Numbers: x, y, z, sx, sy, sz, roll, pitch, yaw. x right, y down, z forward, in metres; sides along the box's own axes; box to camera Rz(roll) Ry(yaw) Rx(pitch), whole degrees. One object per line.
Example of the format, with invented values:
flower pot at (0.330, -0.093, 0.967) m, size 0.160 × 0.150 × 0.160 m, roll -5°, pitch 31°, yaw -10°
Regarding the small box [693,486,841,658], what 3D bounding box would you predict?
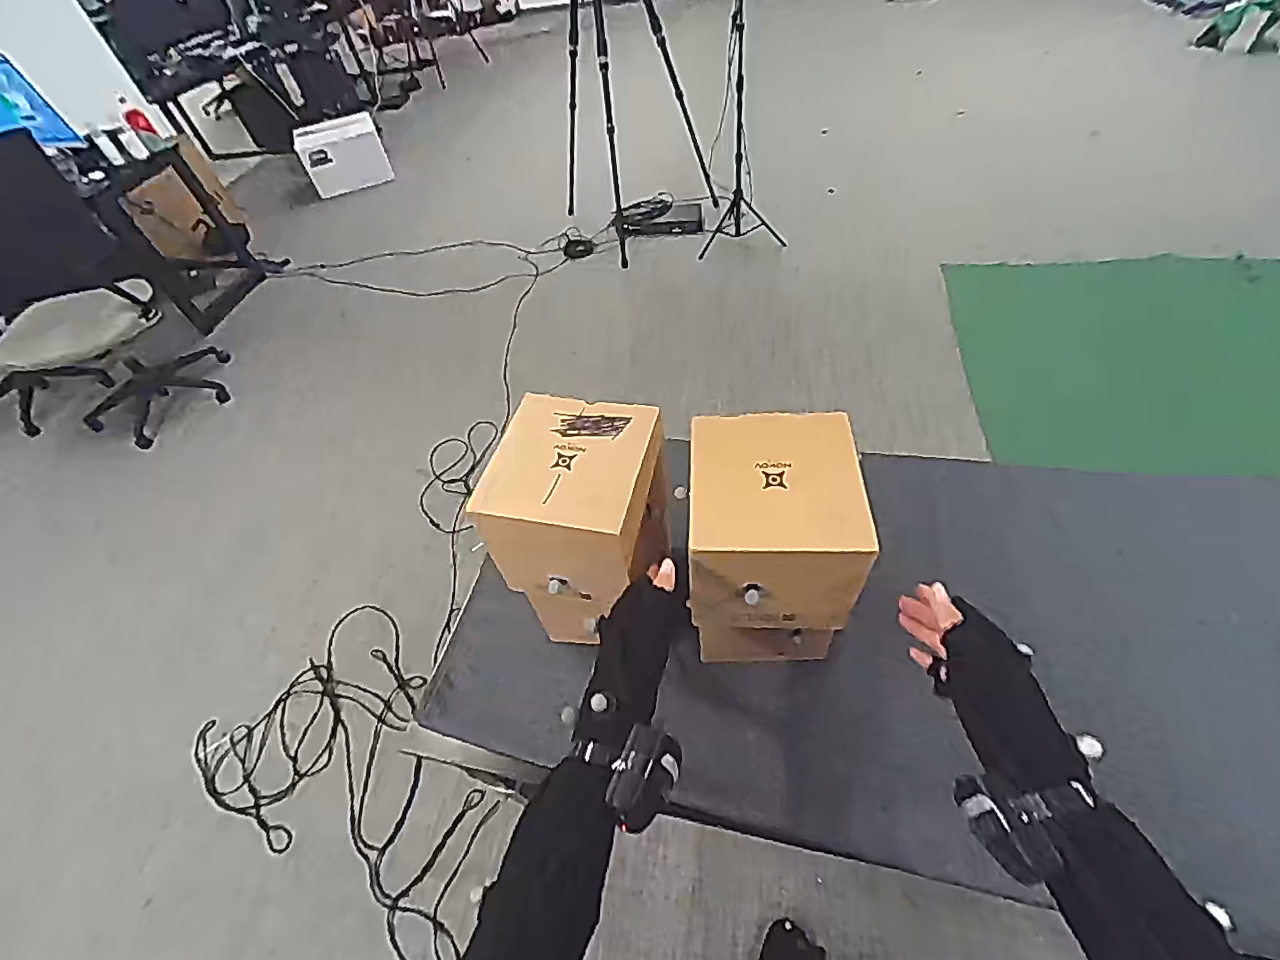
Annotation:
small box at (0.158, 0.129, 0.729) m, size 0.168 × 0.176 × 0.179 m, roll -2°, pitch 50°, yaw 5°
